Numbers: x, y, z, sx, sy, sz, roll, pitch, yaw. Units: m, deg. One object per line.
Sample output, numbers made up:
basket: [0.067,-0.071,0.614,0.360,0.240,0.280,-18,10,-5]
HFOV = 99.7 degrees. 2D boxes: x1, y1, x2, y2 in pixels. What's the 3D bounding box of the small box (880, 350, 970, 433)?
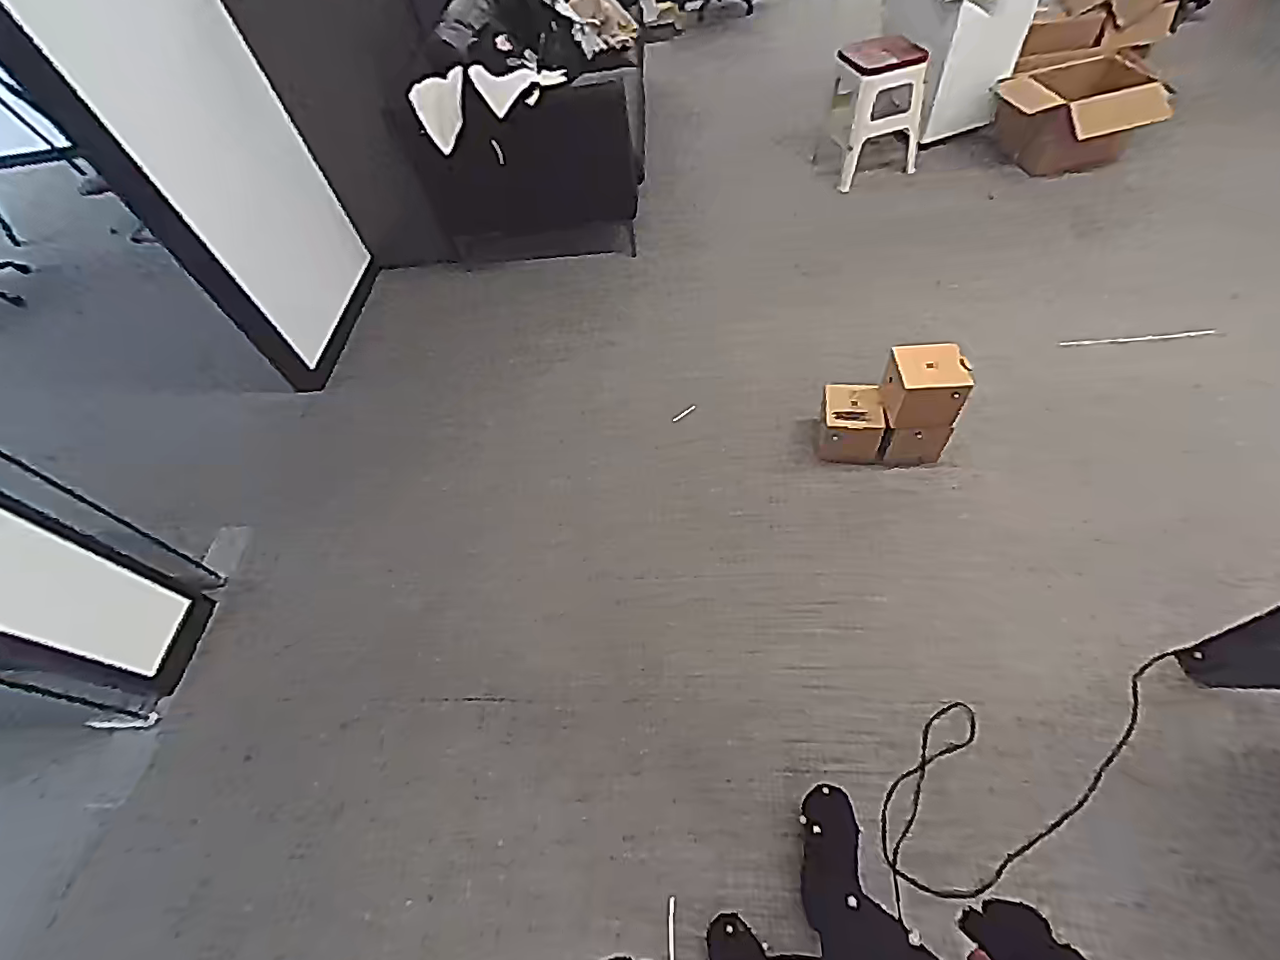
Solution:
small box: [0.802,-0.249,1.545,0.179,0.176,0.168,-3,55,6]
